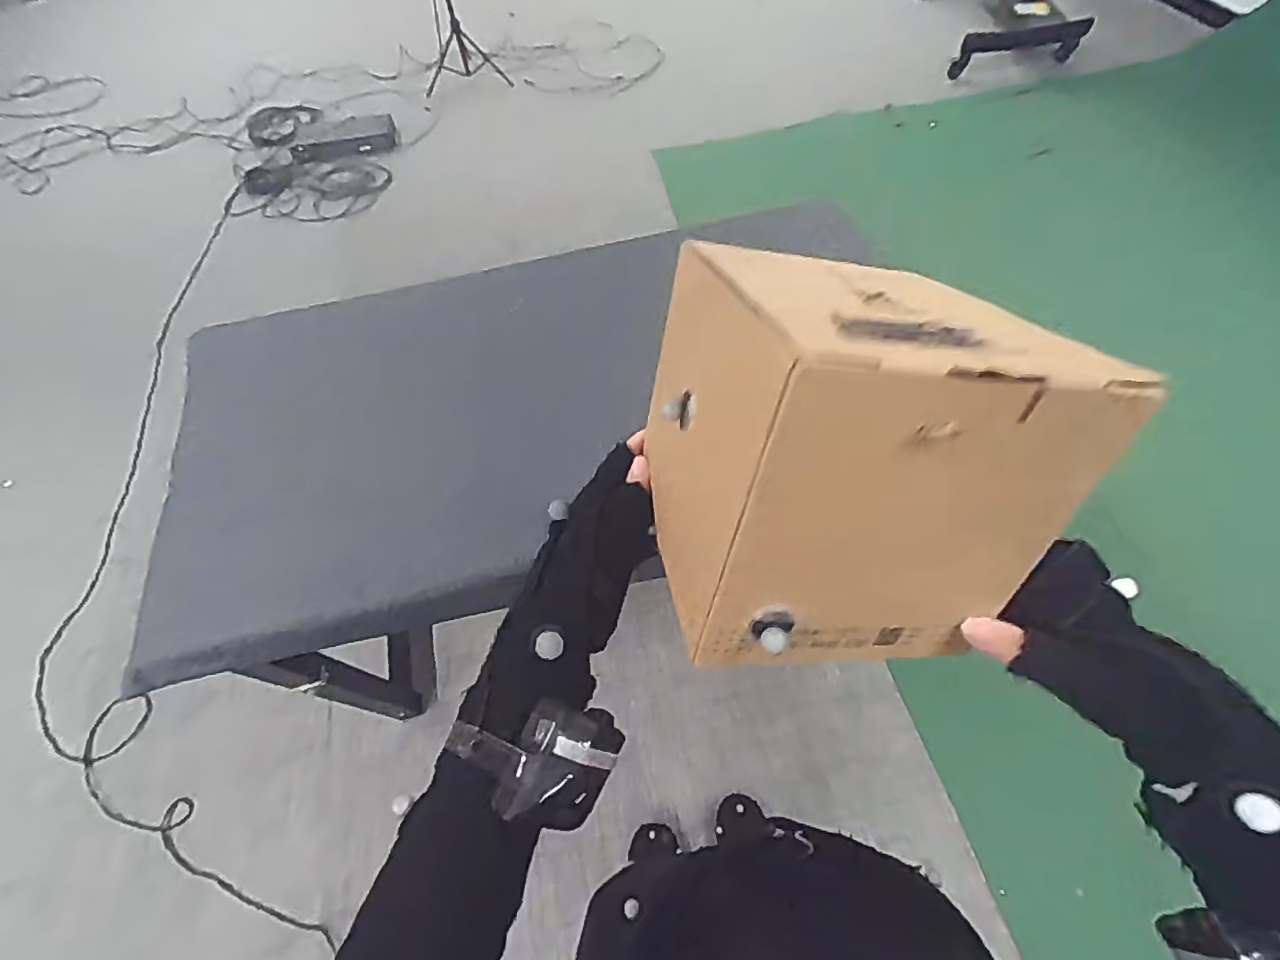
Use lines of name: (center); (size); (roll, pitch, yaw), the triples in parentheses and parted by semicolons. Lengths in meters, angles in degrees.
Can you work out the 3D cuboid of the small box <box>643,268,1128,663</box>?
small box: (0.104, -0.009, 0.323); (0.168, 0.176, 0.179); (4, 34, -13)
